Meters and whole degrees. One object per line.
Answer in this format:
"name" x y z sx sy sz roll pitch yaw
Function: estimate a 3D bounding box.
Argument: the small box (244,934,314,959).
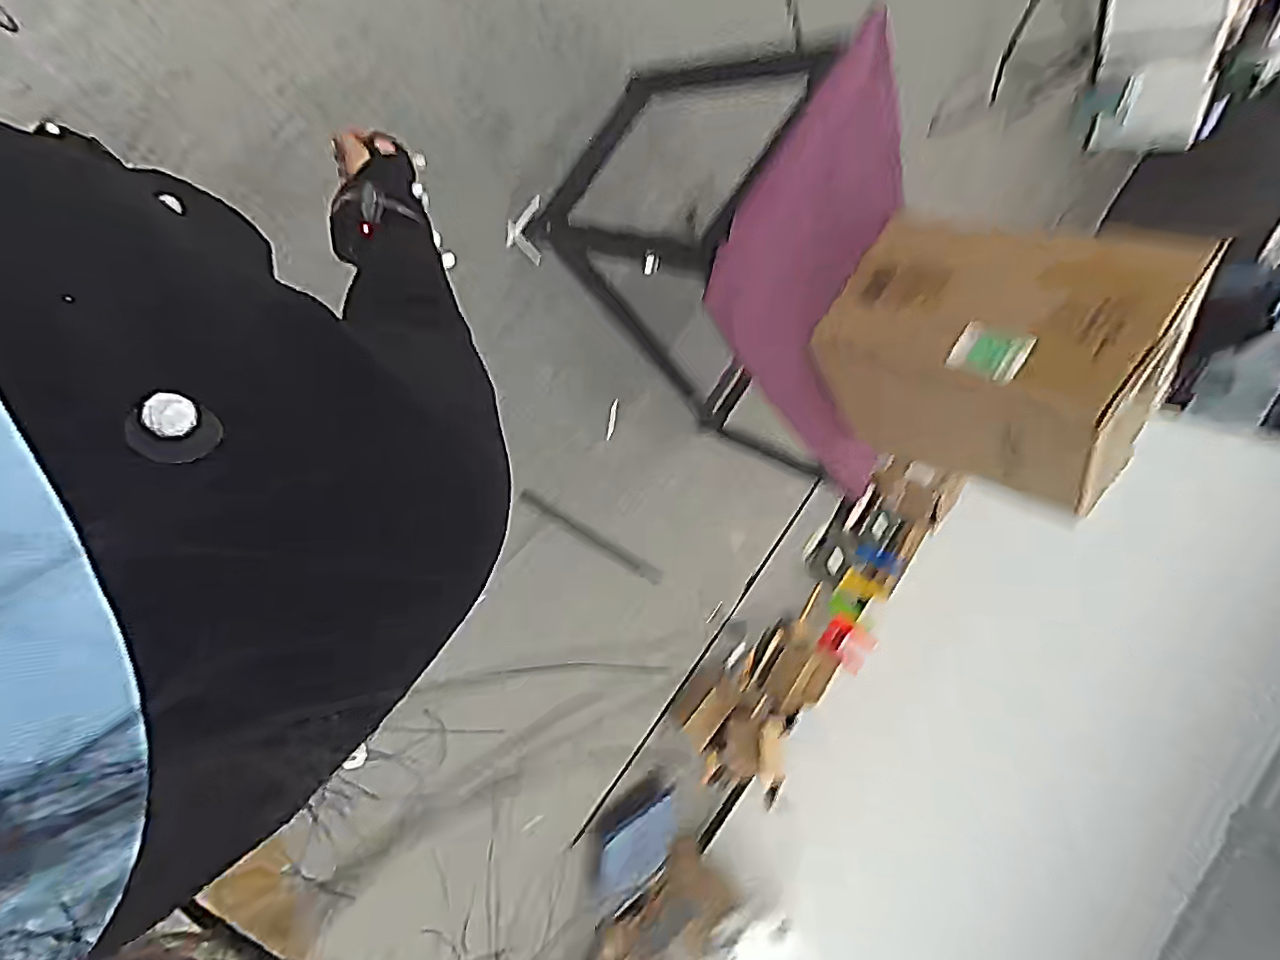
"small box" -1.026 1.415 1.496 0.179 0.176 0.168 -51 139 -9

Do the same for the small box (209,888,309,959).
"small box" -1.131 1.346 1.598 0.179 0.176 0.168 -50 138 -9
